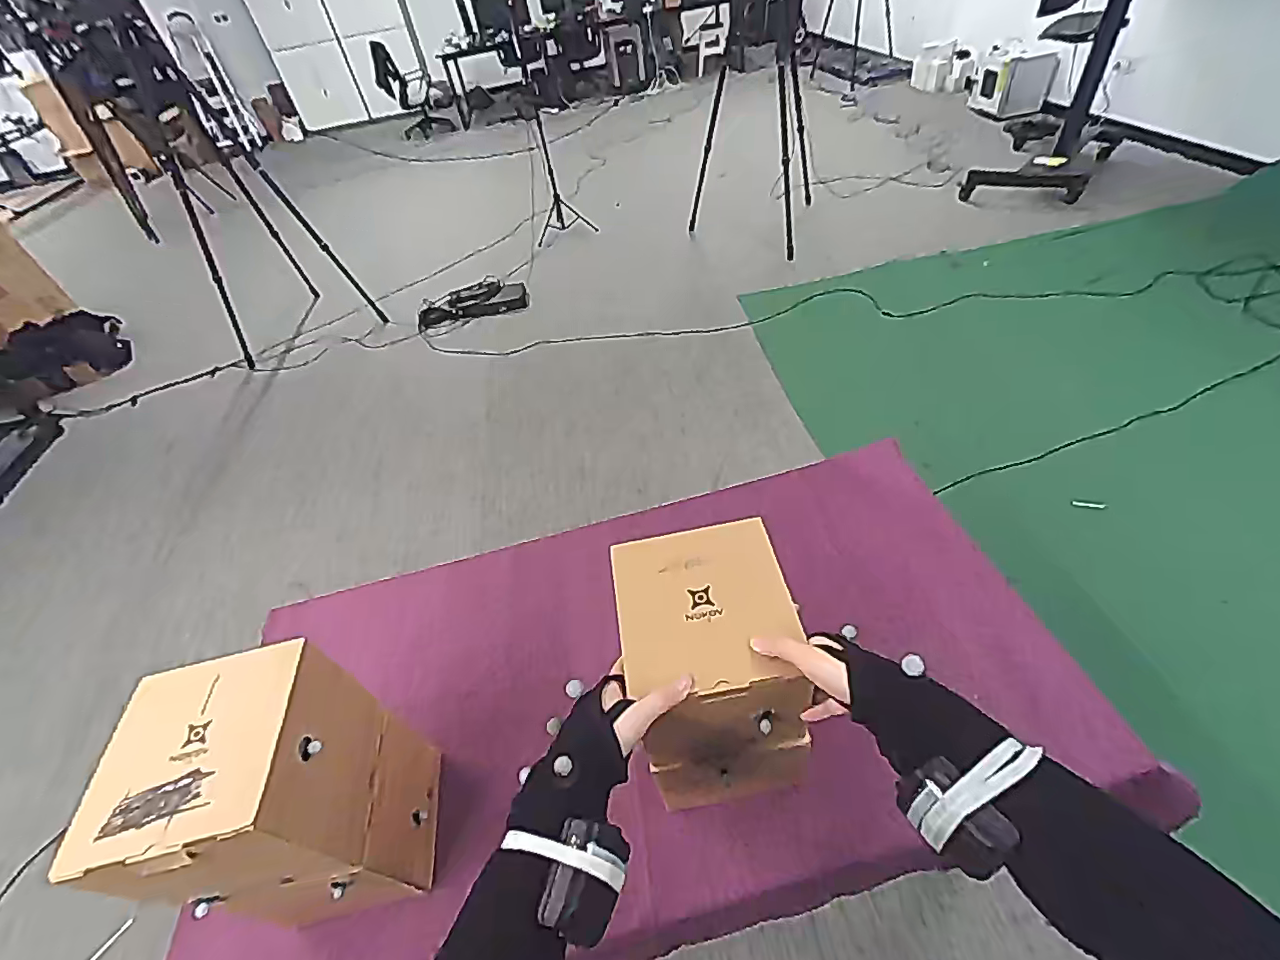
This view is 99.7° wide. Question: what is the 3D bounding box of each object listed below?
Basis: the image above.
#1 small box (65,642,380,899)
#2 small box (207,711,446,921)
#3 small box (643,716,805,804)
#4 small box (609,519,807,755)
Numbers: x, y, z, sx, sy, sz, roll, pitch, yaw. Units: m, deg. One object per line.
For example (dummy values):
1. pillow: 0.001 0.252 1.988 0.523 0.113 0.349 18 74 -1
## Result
1. small box: -0.392 0.301 0.554 0.168 0.176 0.179 -14 44 -2
2. small box: -0.364 0.417 0.668 0.179 0.176 0.168 -14 45 -2
3. small box: 0.097 0.290 0.685 0.179 0.176 0.168 -12 46 2
4. small box: 0.069 0.173 0.575 0.168 0.176 0.179 -11 45 2
